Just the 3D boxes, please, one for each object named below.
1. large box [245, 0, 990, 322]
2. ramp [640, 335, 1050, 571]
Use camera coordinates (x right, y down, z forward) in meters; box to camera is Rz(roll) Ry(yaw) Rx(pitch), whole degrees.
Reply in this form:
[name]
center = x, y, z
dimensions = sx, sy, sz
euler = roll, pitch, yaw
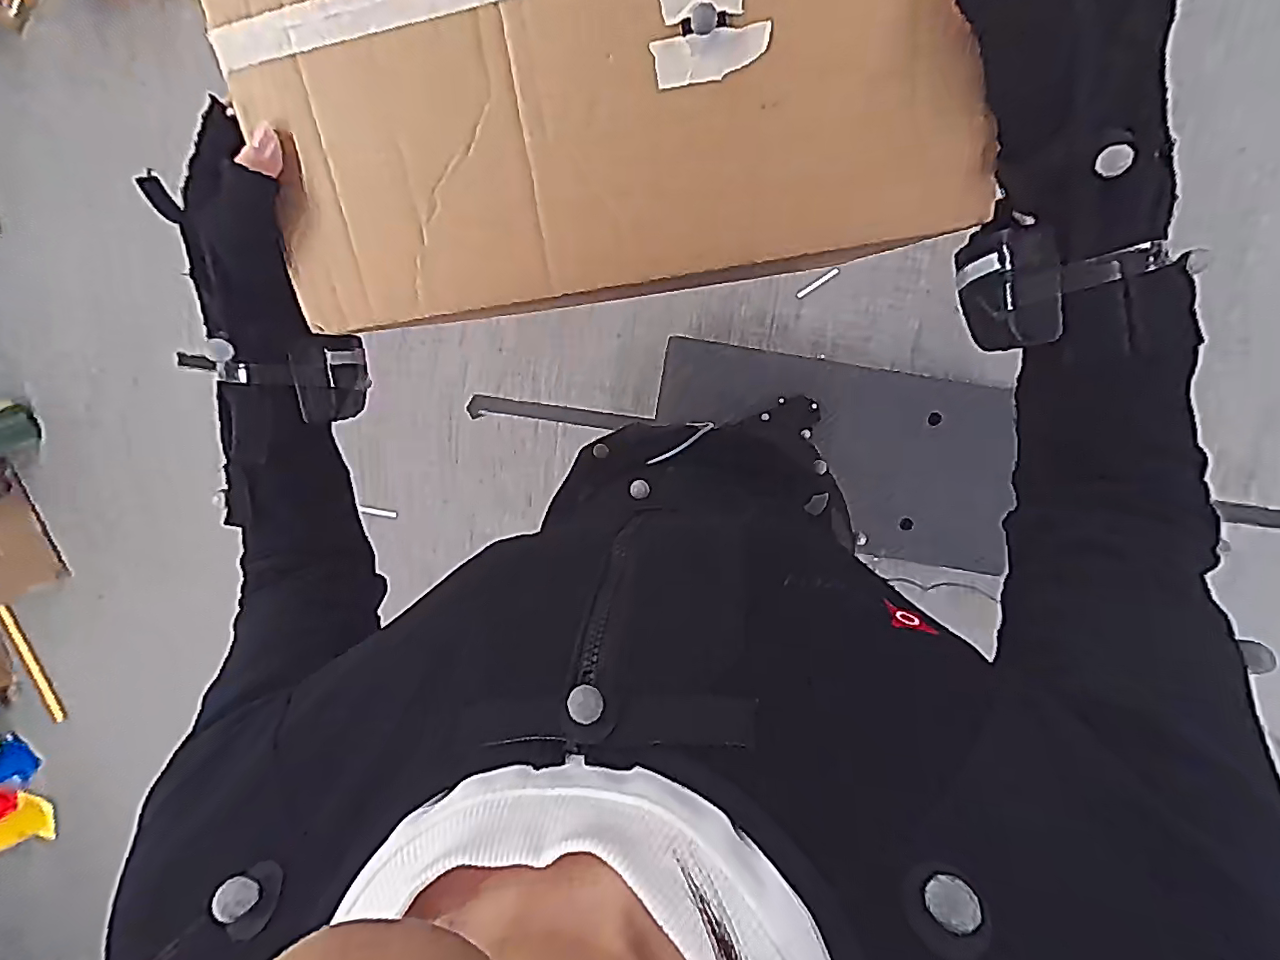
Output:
[large box]
center = -0.012, -0.318, 0.424
dimensions = 0.408, 0.320, 0.320
euler = -6, 108, 9
[ramp]
center = 0.525, -0.063, 1.424
dimensions = 0.991, 0.206, 0.509
euler = 9, 100, 10
